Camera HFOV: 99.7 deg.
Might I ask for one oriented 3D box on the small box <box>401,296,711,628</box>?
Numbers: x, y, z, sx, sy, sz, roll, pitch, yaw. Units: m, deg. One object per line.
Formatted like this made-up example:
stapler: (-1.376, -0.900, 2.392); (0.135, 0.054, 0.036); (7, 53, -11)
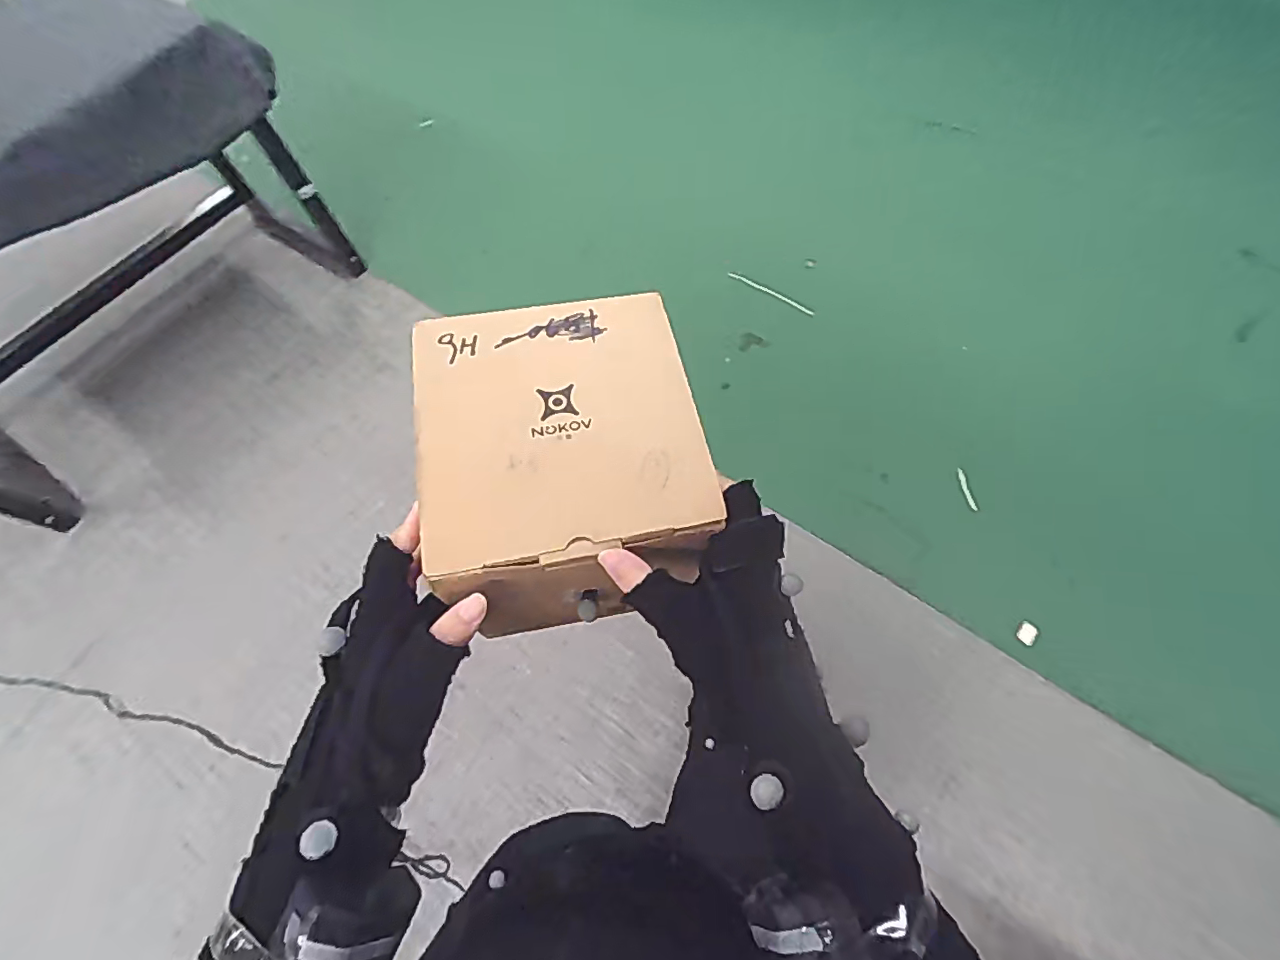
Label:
small box: (-0.058, 0.001, 0.392); (0.168, 0.176, 0.179); (-10, 66, -8)
